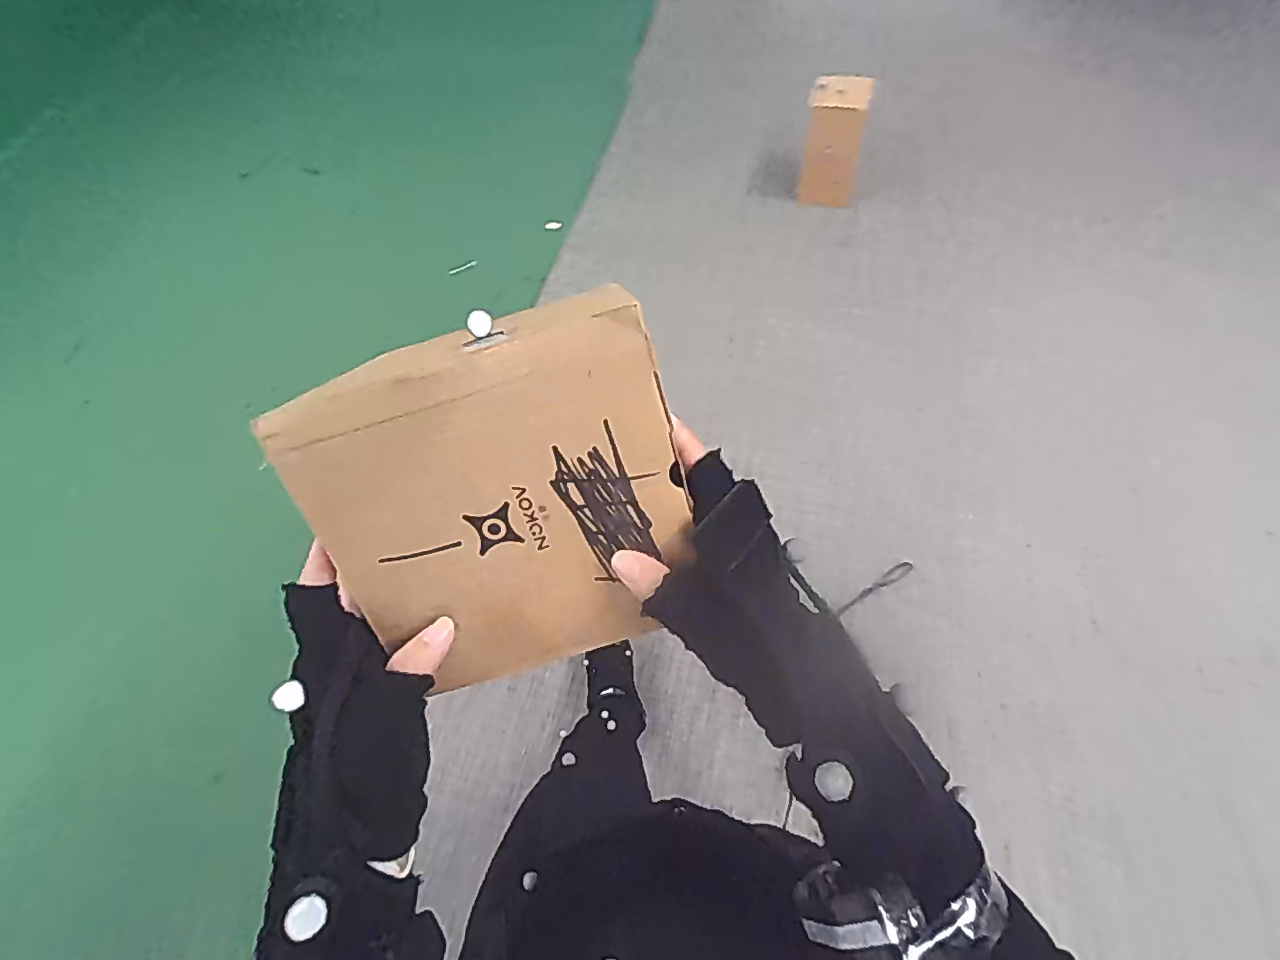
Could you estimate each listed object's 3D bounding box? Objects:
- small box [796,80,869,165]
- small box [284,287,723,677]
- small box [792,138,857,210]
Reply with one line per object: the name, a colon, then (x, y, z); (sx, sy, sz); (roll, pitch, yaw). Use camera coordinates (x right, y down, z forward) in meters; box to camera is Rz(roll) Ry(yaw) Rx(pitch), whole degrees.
small box: (0.621, -1.156, 1.755); (0.179, 0.176, 0.168); (14, 66, 13)
small box: (-0.063, -0.015, 0.342); (0.179, 0.168, 0.176); (-16, 23, 2)
small box: (0.643, -1.078, 1.898); (0.179, 0.176, 0.168); (12, 65, 14)
